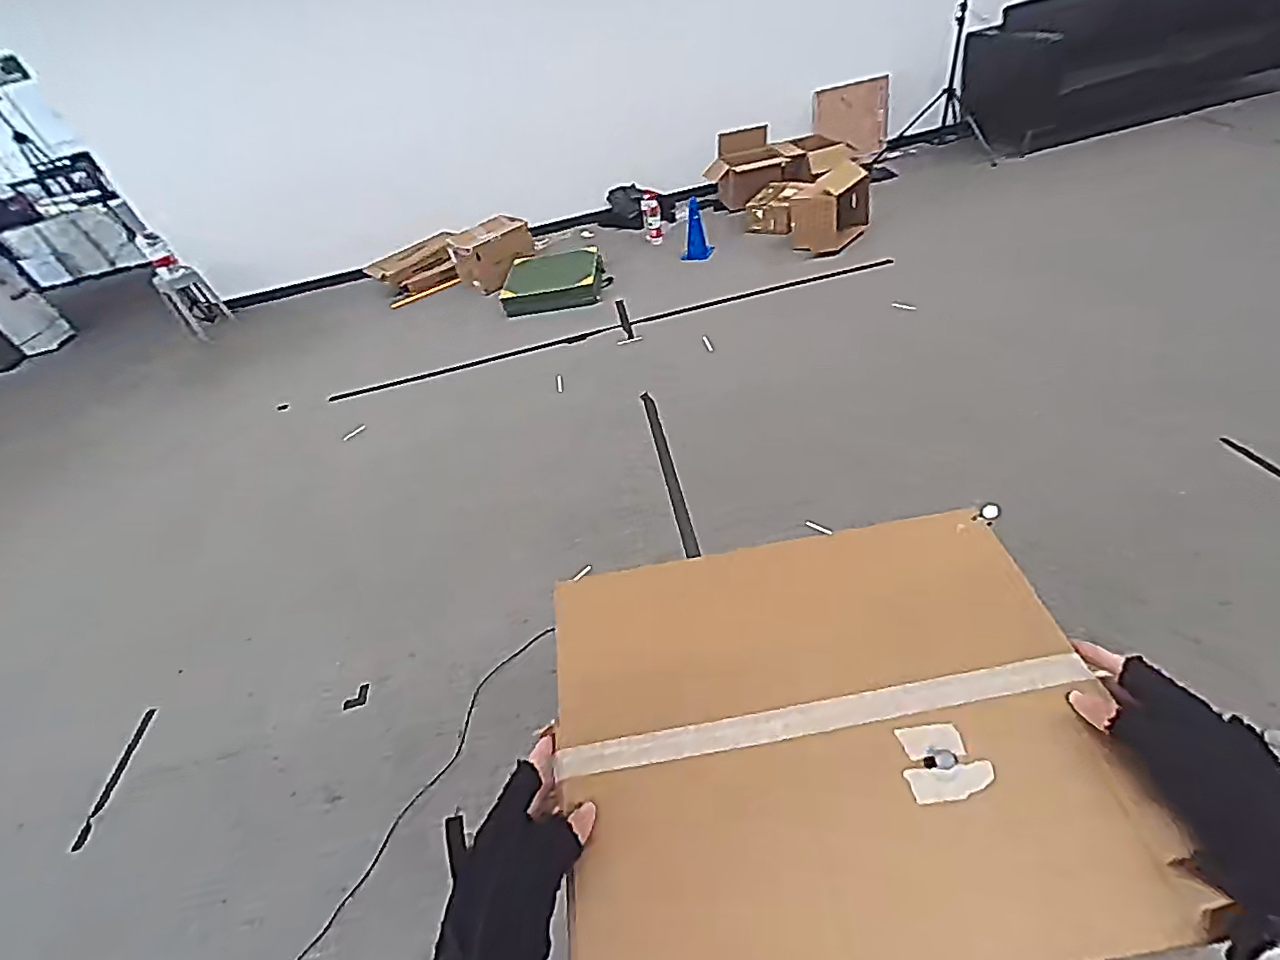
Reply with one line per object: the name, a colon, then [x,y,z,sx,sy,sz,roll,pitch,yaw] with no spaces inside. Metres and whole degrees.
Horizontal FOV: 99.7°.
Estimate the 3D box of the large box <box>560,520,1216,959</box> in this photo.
large box: [0.156,0.285,0.537,0.408,0.320,0.320,-11,50,0]
